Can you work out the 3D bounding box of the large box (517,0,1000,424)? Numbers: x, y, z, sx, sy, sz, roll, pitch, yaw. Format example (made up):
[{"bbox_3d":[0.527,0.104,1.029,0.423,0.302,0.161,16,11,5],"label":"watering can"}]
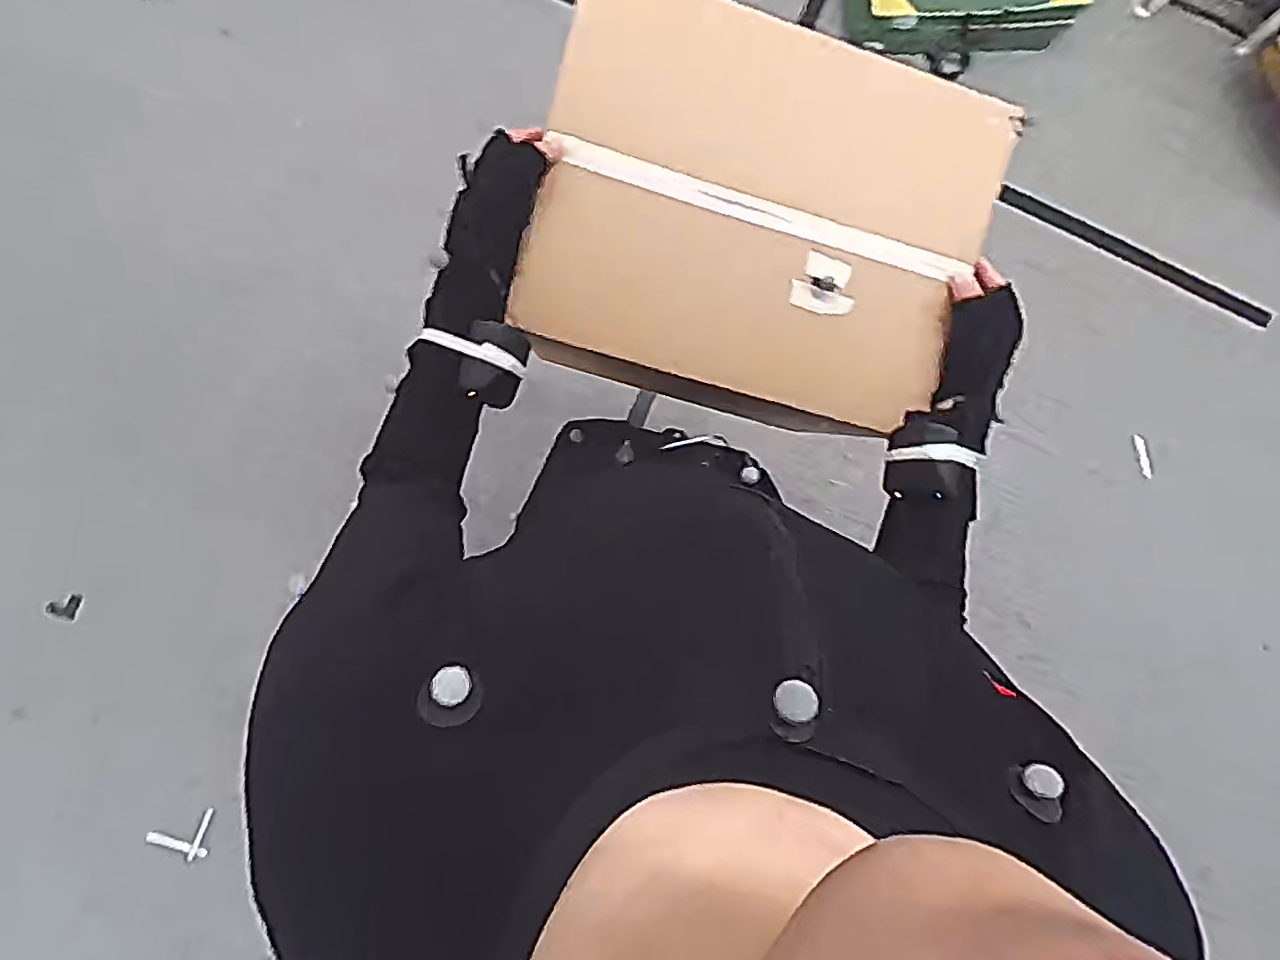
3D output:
[{"bbox_3d":[0.096,-0.264,0.642,0.408,0.320,0.320,14,97,-8],"label":"large box"}]
